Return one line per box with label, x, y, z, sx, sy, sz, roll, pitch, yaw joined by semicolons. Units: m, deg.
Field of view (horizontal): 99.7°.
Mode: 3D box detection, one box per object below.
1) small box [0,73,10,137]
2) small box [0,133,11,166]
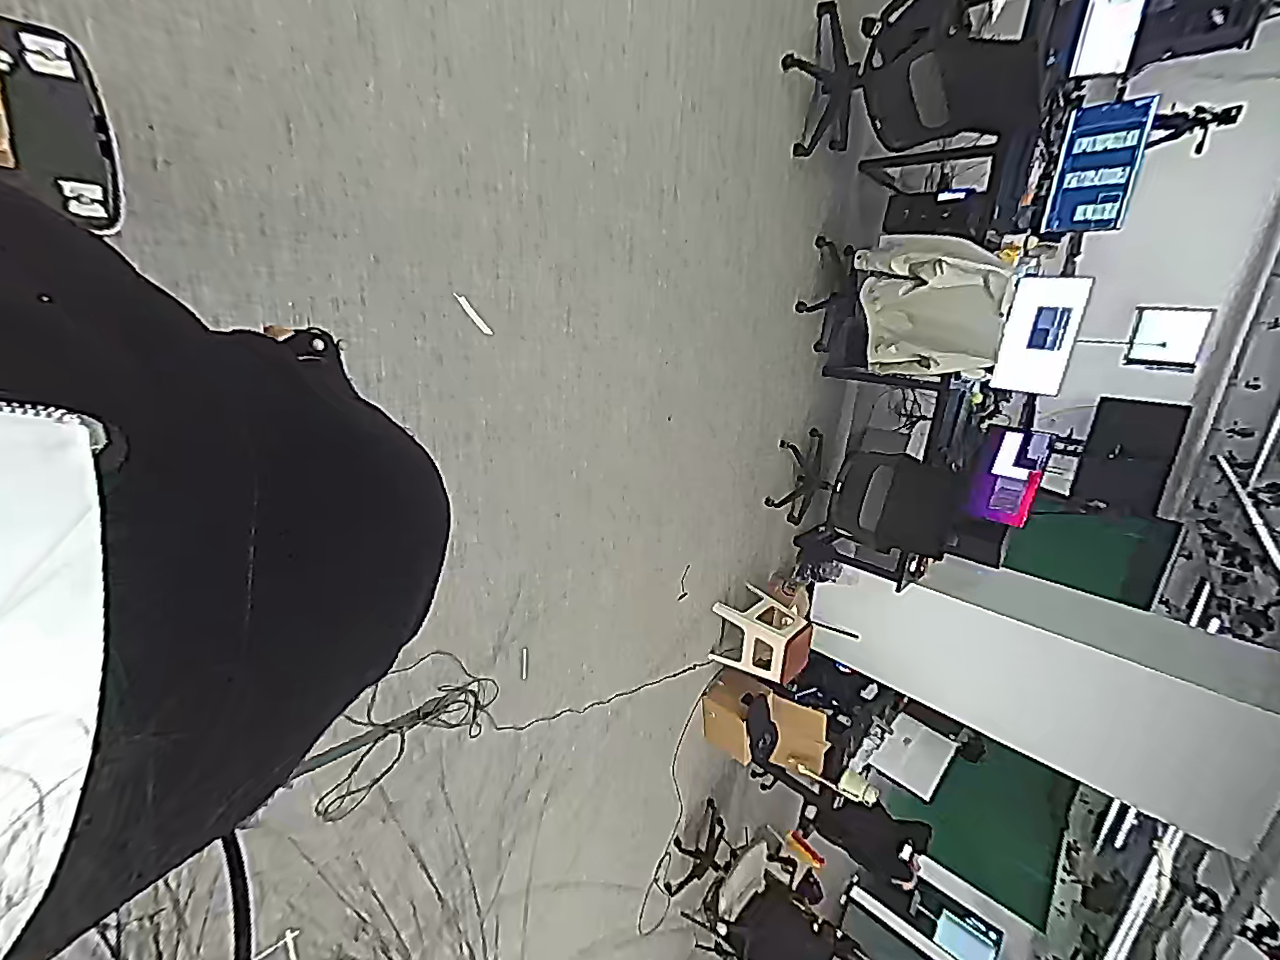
small box;-0.818;-0.486;0.572;0.179;0.176;0.168;-11;112;-45
small box;-0.940;-0.508;0.681;0.179;0.176;0.168;-12;113;-44
